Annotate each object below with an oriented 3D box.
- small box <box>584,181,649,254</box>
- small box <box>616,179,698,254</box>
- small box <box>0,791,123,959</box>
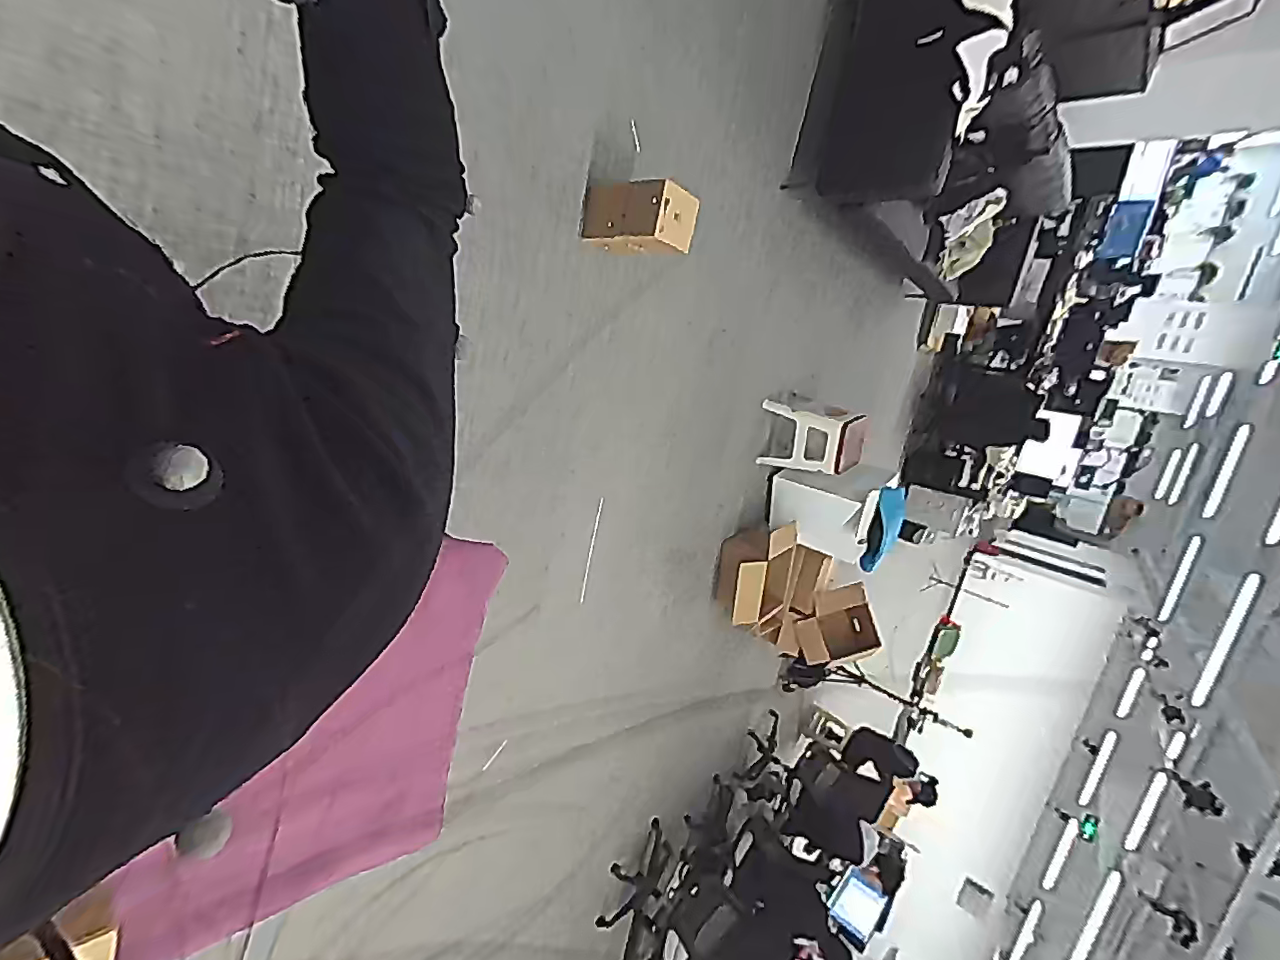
[{"bbox_3d":[-0.067,-0.870,1.806,0.168,0.176,0.179,0,106,-49],"label":"small box"},{"bbox_3d":[0.053,-0.825,1.703,0.179,0.176,0.168,-1,107,-50],"label":"small box"},{"bbox_3d":[-0.521,0.384,0.404,0.168,0.176,0.179,5,102,-52],"label":"small box"}]
